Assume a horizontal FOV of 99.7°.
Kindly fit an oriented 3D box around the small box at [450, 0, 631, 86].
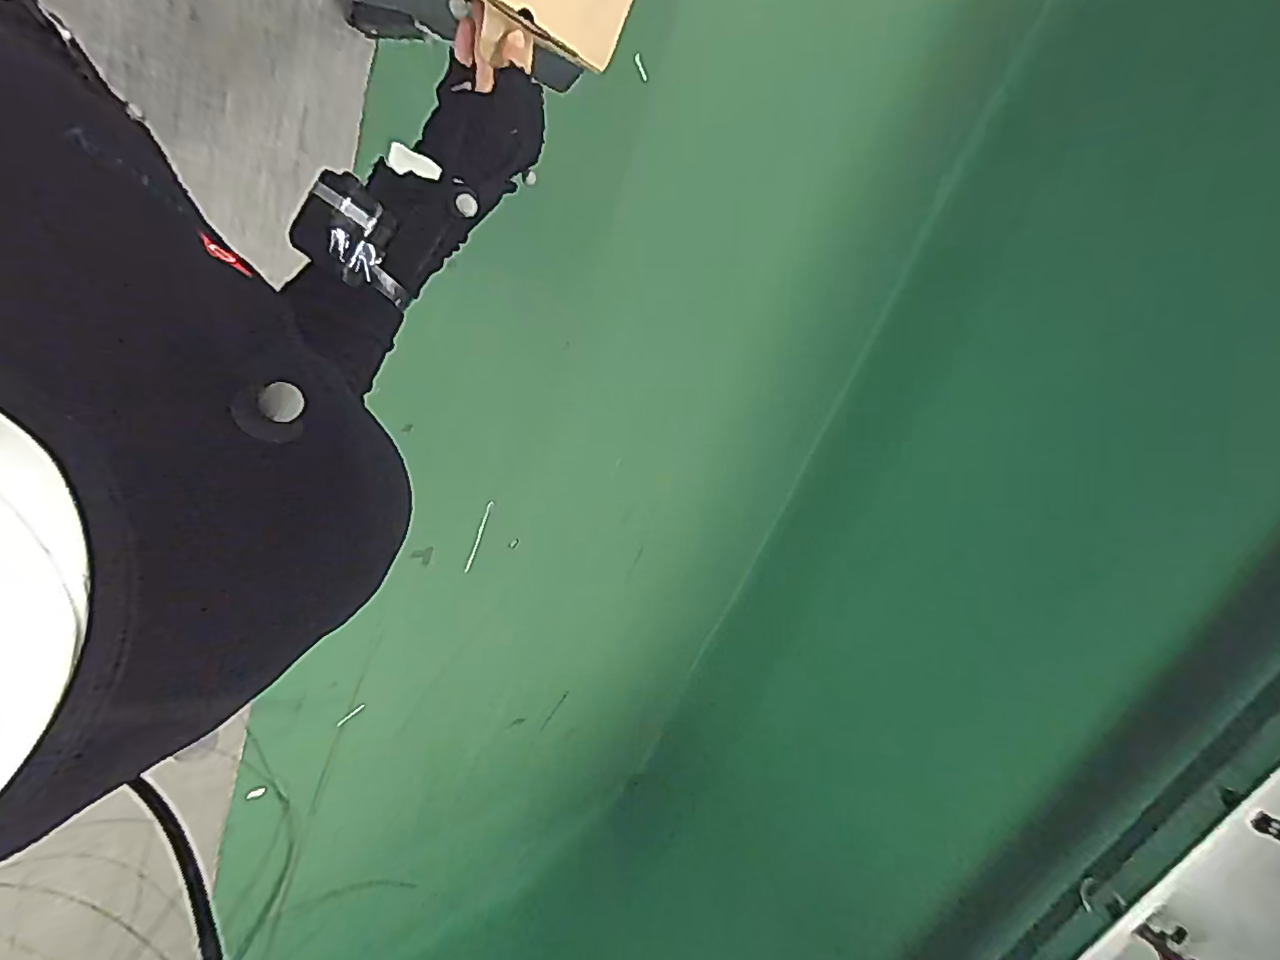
[{"bbox_3d":[-0.100,-0.441,0.389,0.168,0.176,0.179,-10,138,-51],"label":"small box"}]
